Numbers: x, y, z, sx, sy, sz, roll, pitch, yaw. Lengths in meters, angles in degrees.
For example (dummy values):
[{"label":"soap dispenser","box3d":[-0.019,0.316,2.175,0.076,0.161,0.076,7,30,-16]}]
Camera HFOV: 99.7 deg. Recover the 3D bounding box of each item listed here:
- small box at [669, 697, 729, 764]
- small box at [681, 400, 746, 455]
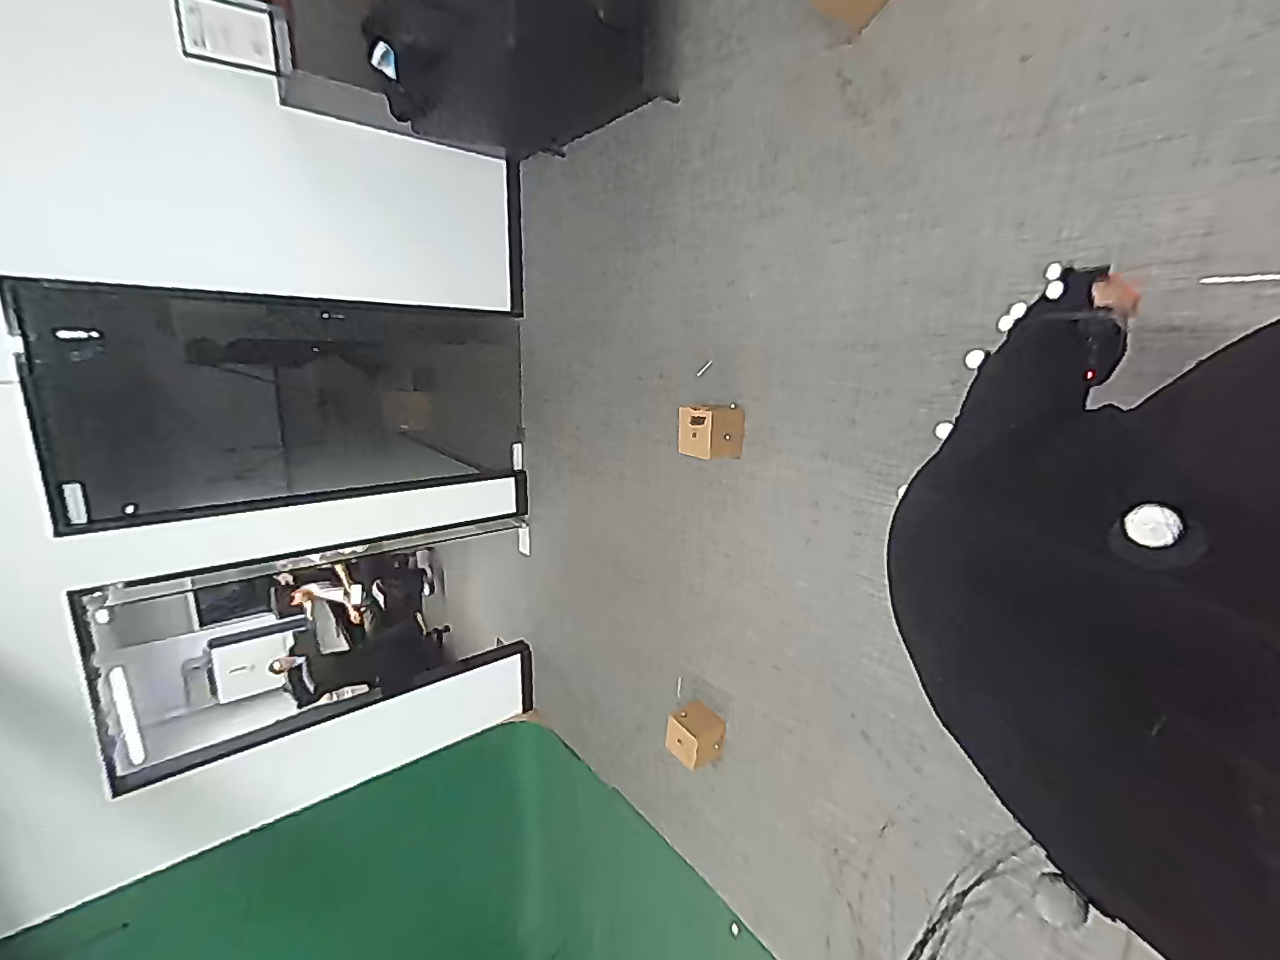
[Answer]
[{"label":"small box","box3d":[0.245,1.040,2.268,0.179,0.176,0.168,25,117,47]},{"label":"small box","box3d":[0.272,-0.198,1.982,0.168,0.176,0.179,19,113,48]}]
